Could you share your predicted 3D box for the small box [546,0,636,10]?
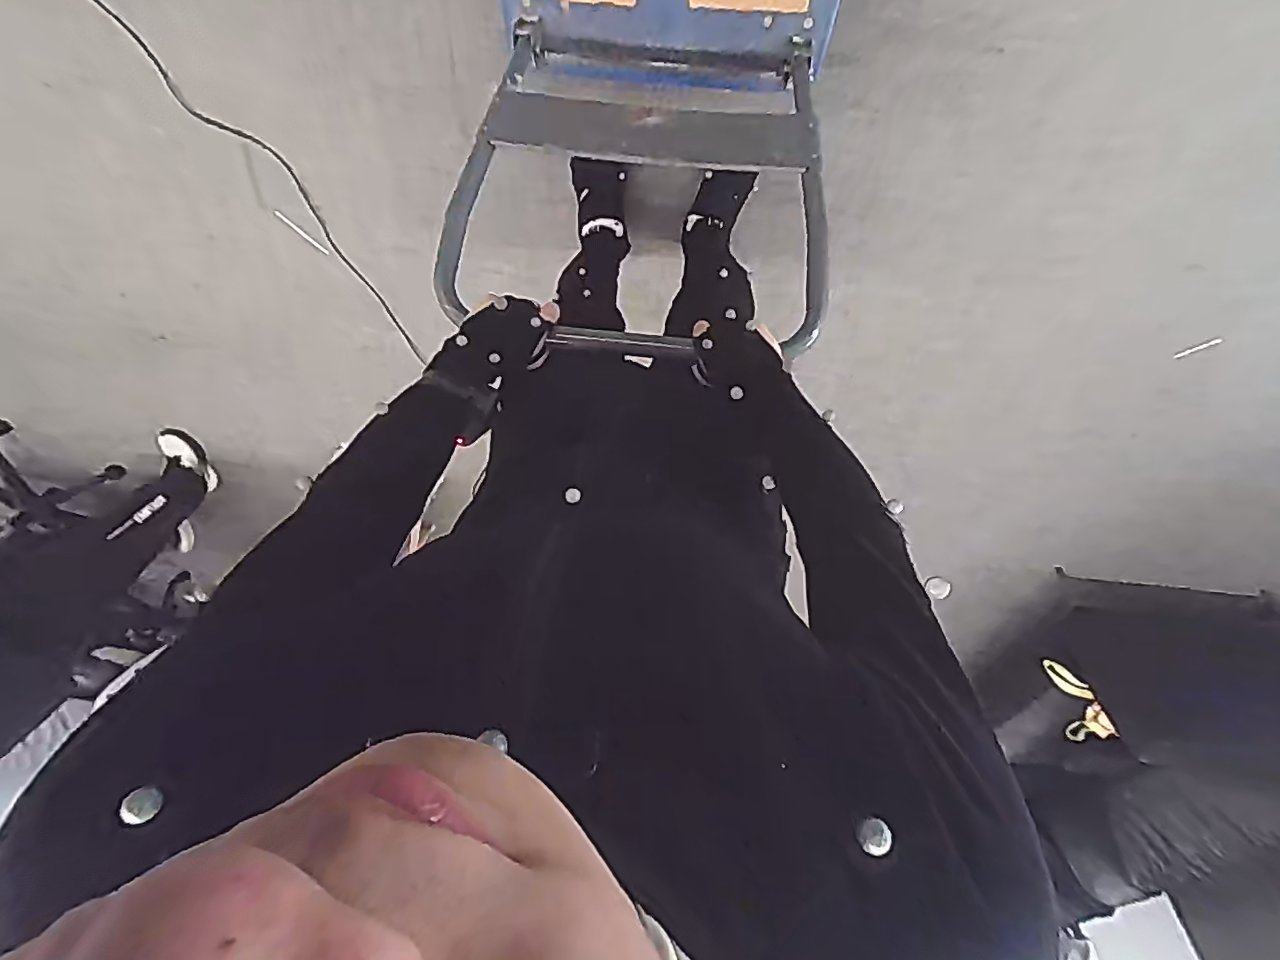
[{"bbox_3d":[-0.079,-0.818,0.768,0.168,0.176,0.179,6,149,0],"label":"small box"}]
